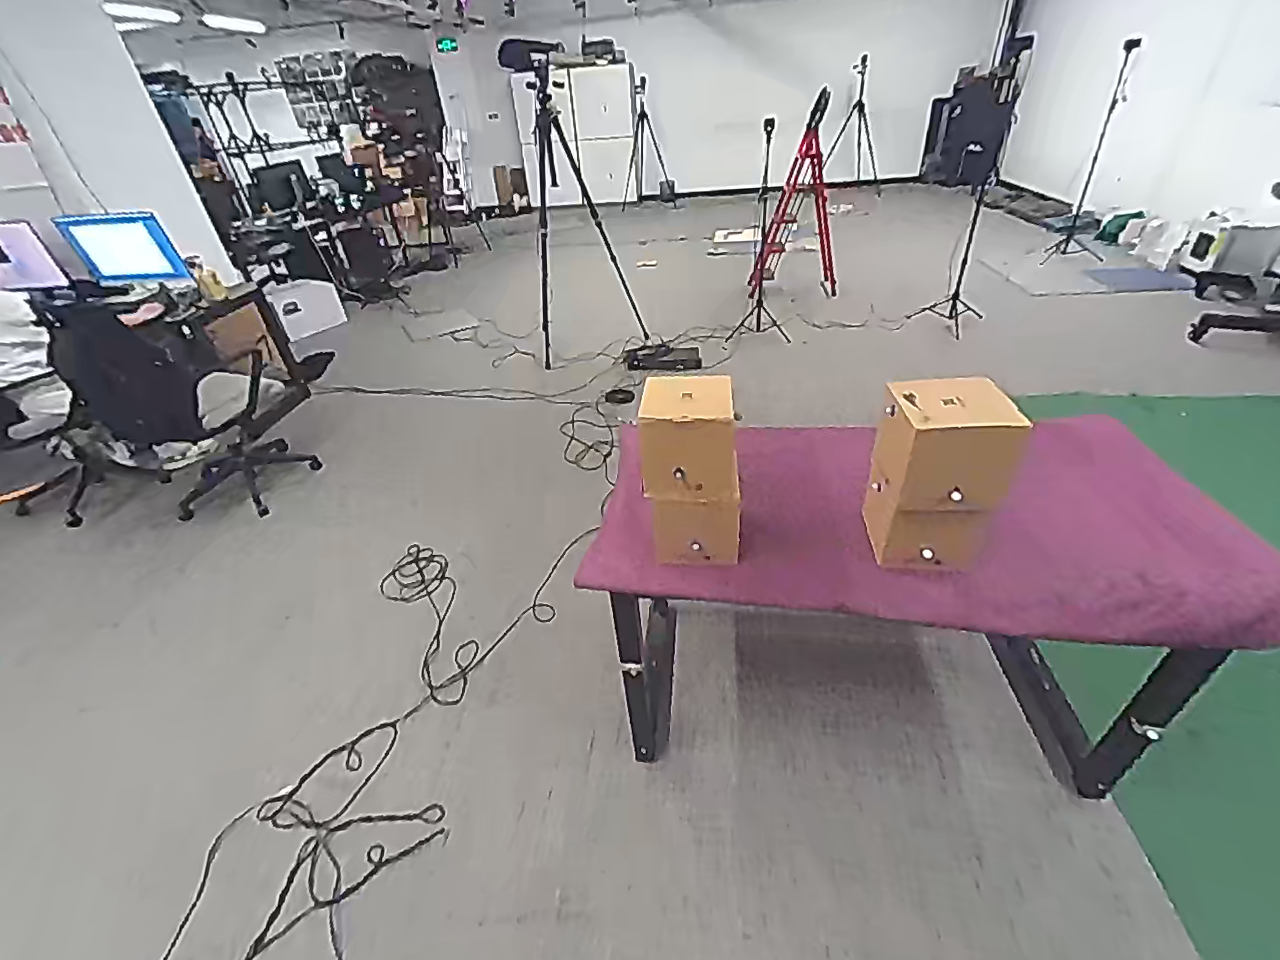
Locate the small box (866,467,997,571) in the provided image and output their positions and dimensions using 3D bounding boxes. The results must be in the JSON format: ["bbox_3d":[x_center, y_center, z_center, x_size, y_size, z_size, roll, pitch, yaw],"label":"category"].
[{"bbox_3d":[0.549,0.053,1.047,0.168,0.176,0.179,1,36,10],"label":"small box"}]

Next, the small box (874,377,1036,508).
[{"bbox_3d":[0.525,-0.063,0.932,0.179,0.176,0.168,-1,36,7],"label":"small box"}]

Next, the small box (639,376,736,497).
[{"bbox_3d":[0.092,-0.085,1.019,0.168,0.176,0.179,0,34,7],"label":"small box"}]

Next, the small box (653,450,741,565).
[{"bbox_3d":[0.118,0.052,1.103,0.168,0.176,0.179,-1,35,8],"label":"small box"}]
